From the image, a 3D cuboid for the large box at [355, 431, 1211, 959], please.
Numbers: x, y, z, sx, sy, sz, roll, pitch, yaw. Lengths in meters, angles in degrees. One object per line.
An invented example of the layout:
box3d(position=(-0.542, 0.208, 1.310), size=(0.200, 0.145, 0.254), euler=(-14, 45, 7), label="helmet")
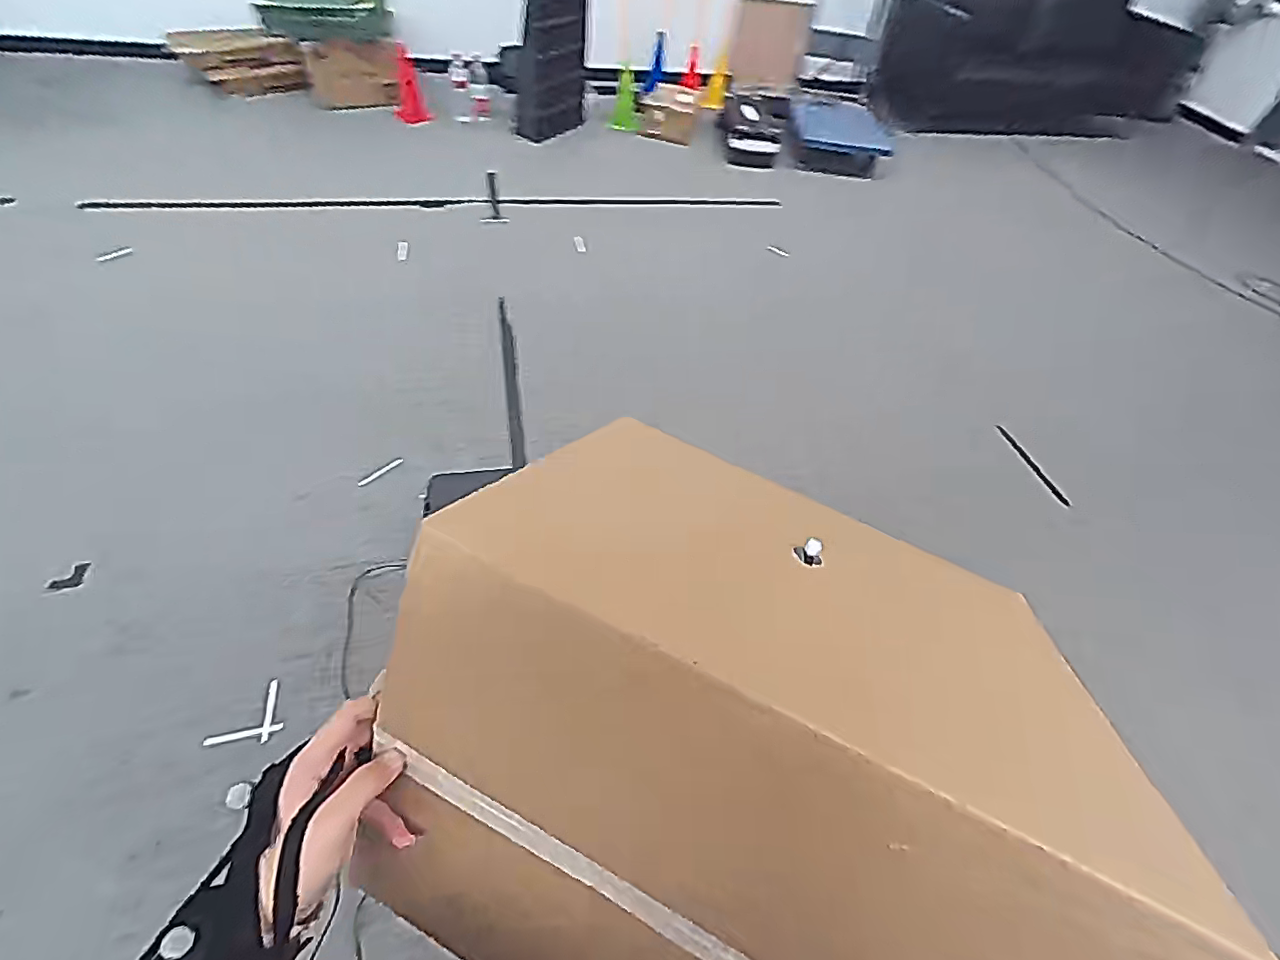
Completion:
box3d(position=(0.055, 0.192, 0.447), size=(0.408, 0.320, 0.320), euler=(24, 23, 9), label="large box")
